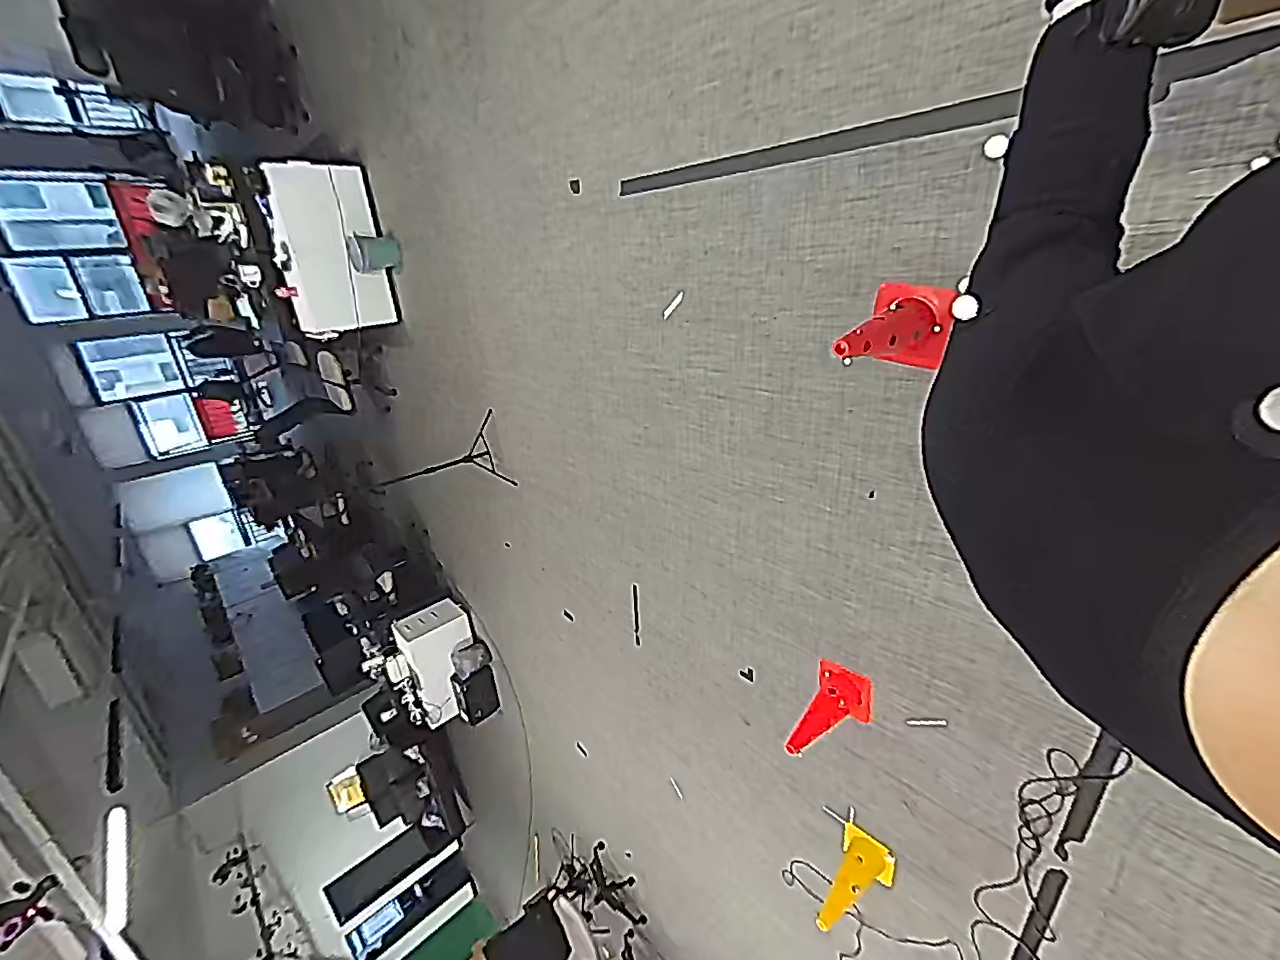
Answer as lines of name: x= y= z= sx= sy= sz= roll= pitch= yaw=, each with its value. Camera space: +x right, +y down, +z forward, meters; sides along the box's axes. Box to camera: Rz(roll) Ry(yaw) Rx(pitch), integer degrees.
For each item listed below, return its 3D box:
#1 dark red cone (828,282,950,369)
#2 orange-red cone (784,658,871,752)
dark red cone: x=0.560 y=-0.348 z=1.292 sx=0.201 sy=0.394 sz=0.202 roll=26 pitch=127 yaw=40
orange-red cone: x=0.617 y=0.817 z=1.867 sx=0.198 sy=0.360 sz=0.199 roll=18 pitch=123 yaw=46
